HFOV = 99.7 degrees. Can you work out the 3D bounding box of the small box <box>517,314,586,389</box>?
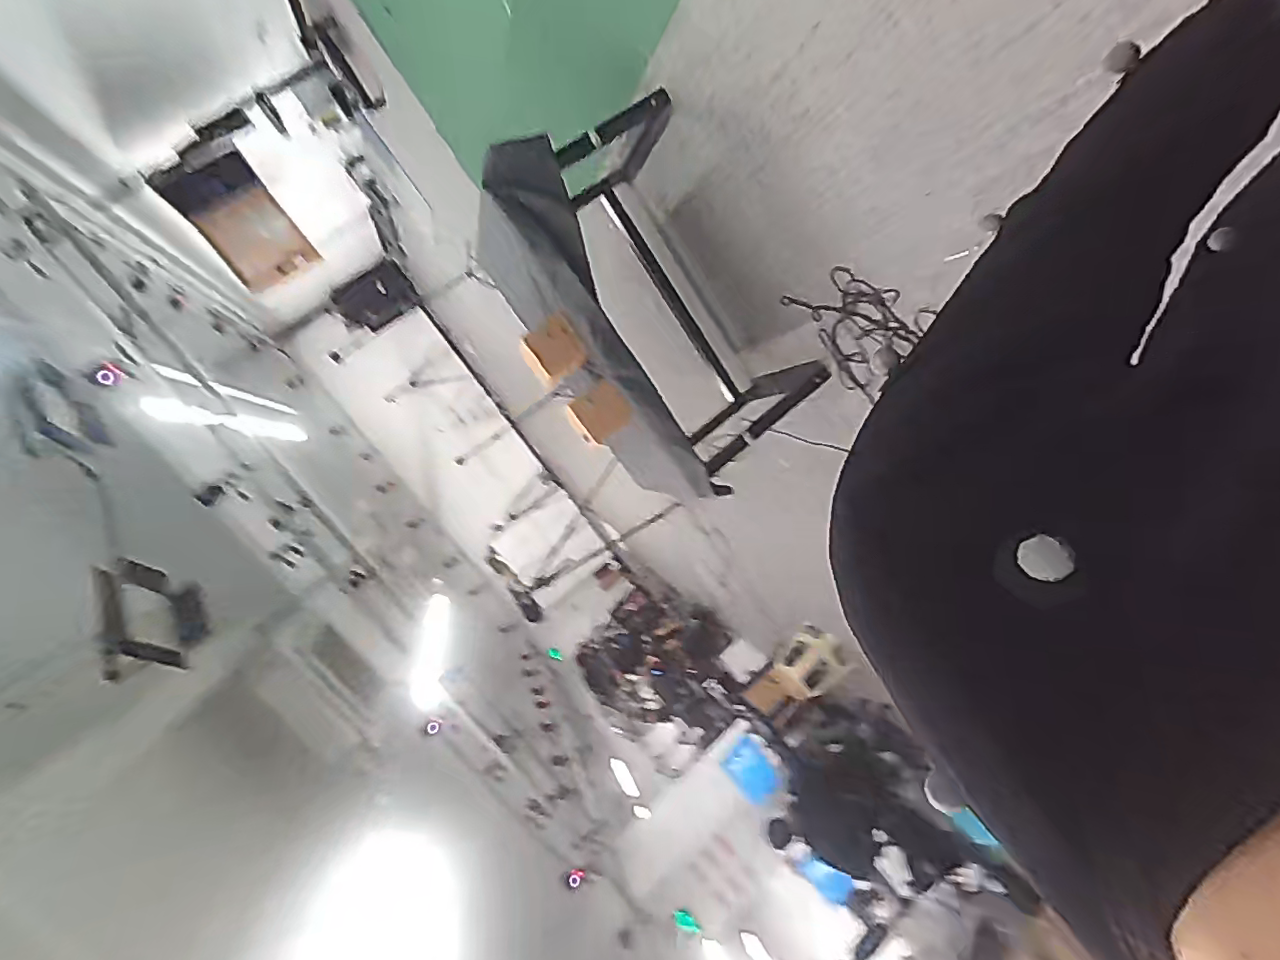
[{"bbox_3d":[-0.306,-0.443,1.864,0.168,0.176,0.179,55,167,-5],"label":"small box"}]
